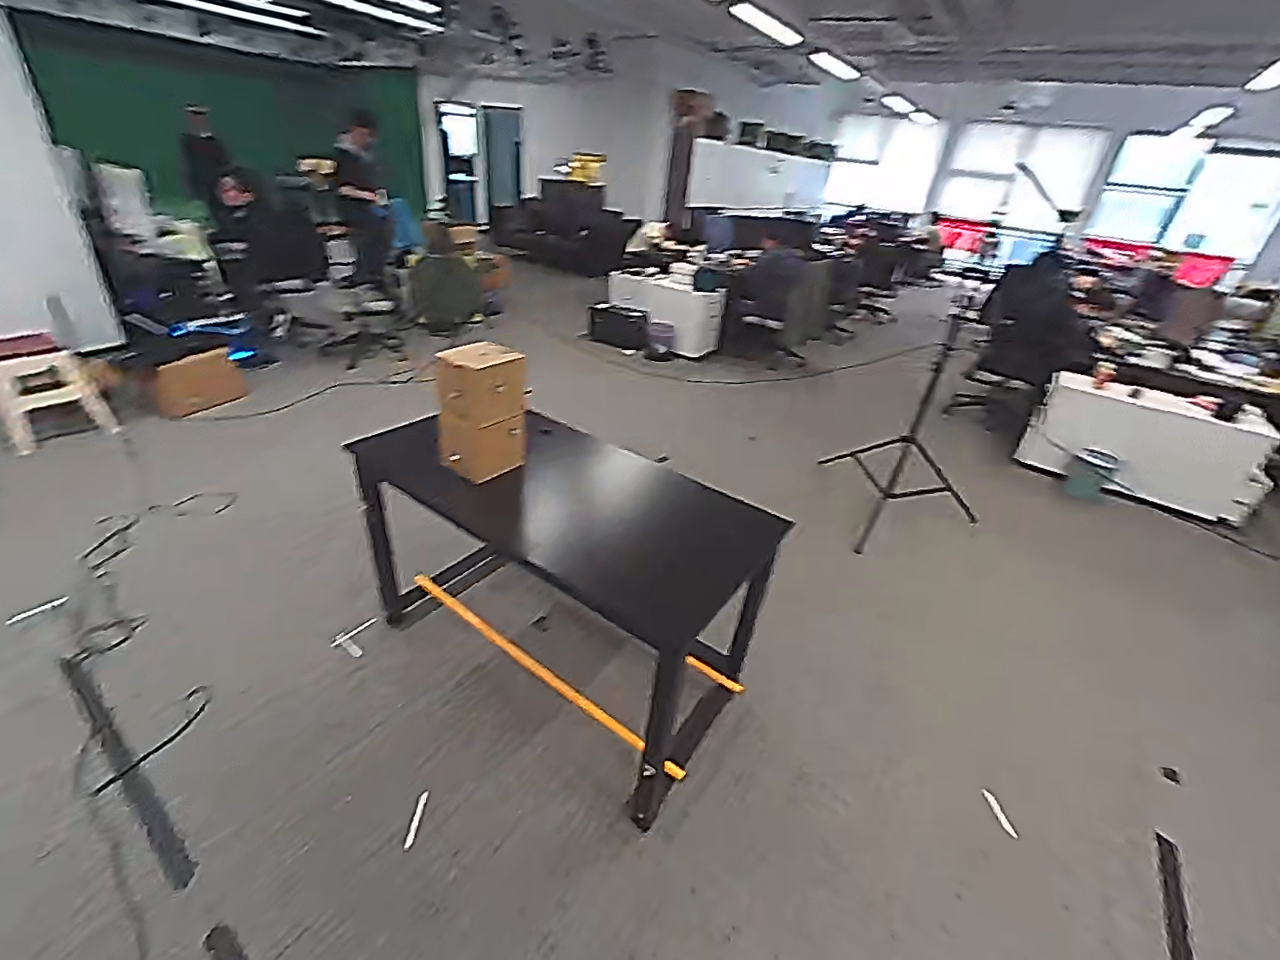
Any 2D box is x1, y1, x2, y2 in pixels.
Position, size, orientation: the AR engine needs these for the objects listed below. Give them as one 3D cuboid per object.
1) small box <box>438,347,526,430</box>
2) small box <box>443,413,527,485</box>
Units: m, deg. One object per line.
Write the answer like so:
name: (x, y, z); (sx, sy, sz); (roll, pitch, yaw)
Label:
small box: (-0.430, -0.255, 1.503); (0.168, 0.176, 0.179); (23, 35, 27)
small box: (-0.449, -0.110, 1.578); (0.168, 0.176, 0.179); (25, 35, 29)
